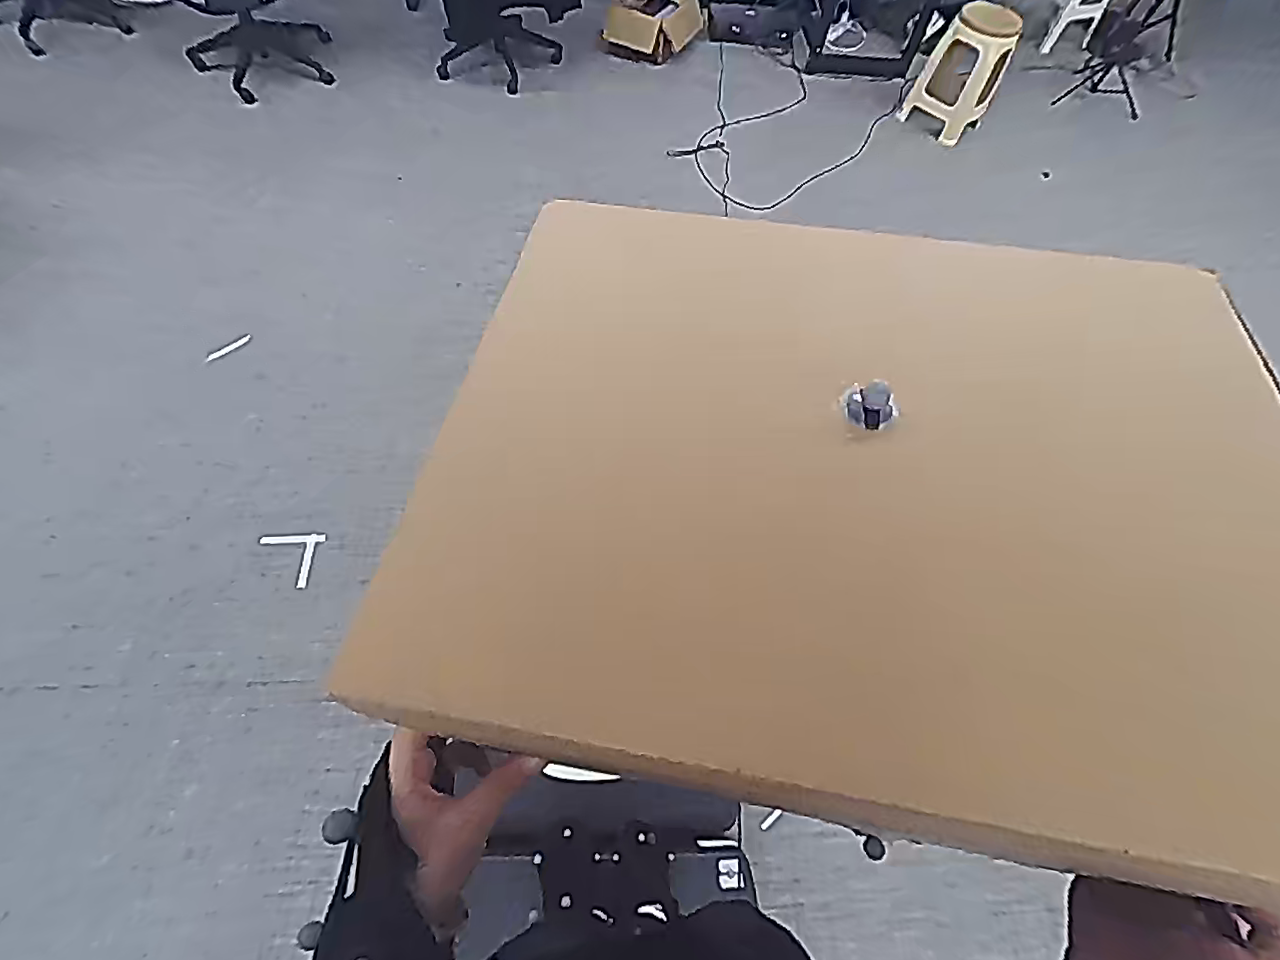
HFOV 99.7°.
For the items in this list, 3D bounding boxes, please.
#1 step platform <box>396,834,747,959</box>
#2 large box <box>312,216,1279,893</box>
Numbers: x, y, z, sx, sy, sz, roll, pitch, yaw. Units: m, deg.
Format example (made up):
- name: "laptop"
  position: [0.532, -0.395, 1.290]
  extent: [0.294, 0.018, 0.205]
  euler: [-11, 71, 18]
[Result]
- name: "step platform"
  position: [-0.128, 0.920, 1.100]
  extent: [0.684, 0.204, 0.286]
  euler: [5, 61, -1]
- name: "large box"
  position: [0.095, 0.050, 0.384]
  extent: [0.408, 0.320, 0.320]
  euler: [7, 61, 6]
